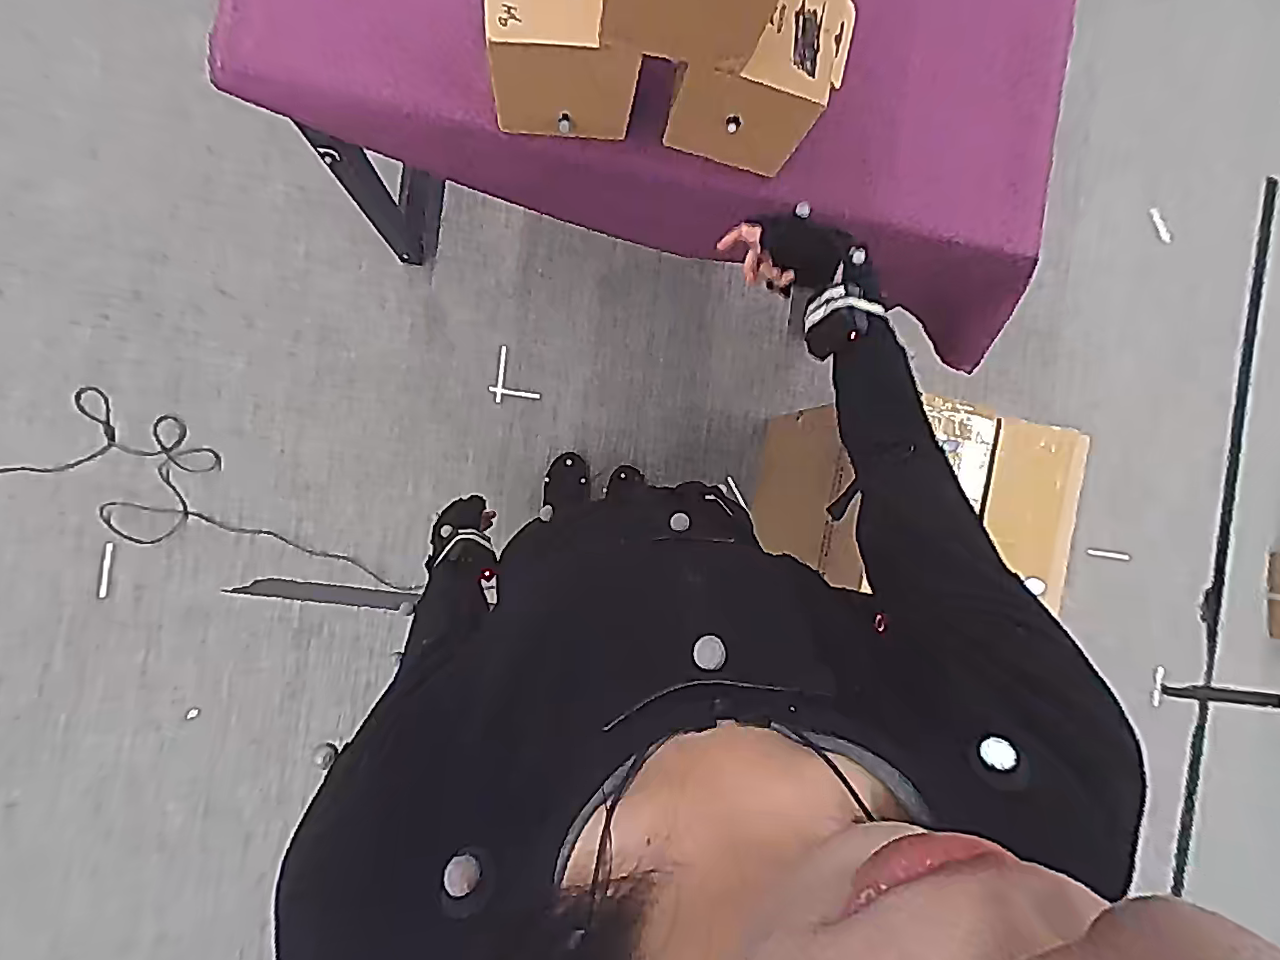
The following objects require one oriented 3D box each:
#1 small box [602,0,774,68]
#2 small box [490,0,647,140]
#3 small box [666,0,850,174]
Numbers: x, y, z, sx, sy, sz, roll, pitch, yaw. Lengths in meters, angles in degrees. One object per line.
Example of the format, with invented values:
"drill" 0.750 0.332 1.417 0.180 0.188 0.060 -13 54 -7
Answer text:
"small box" 0.058 -0.560 0.540 0.179 0.176 0.168 4 91 -10
"small box" -0.095 -0.561 0.682 0.179 0.176 0.168 -3 90 -10
"small box" 0.146 -0.544 0.718 0.179 0.176 0.168 12 88 -8
